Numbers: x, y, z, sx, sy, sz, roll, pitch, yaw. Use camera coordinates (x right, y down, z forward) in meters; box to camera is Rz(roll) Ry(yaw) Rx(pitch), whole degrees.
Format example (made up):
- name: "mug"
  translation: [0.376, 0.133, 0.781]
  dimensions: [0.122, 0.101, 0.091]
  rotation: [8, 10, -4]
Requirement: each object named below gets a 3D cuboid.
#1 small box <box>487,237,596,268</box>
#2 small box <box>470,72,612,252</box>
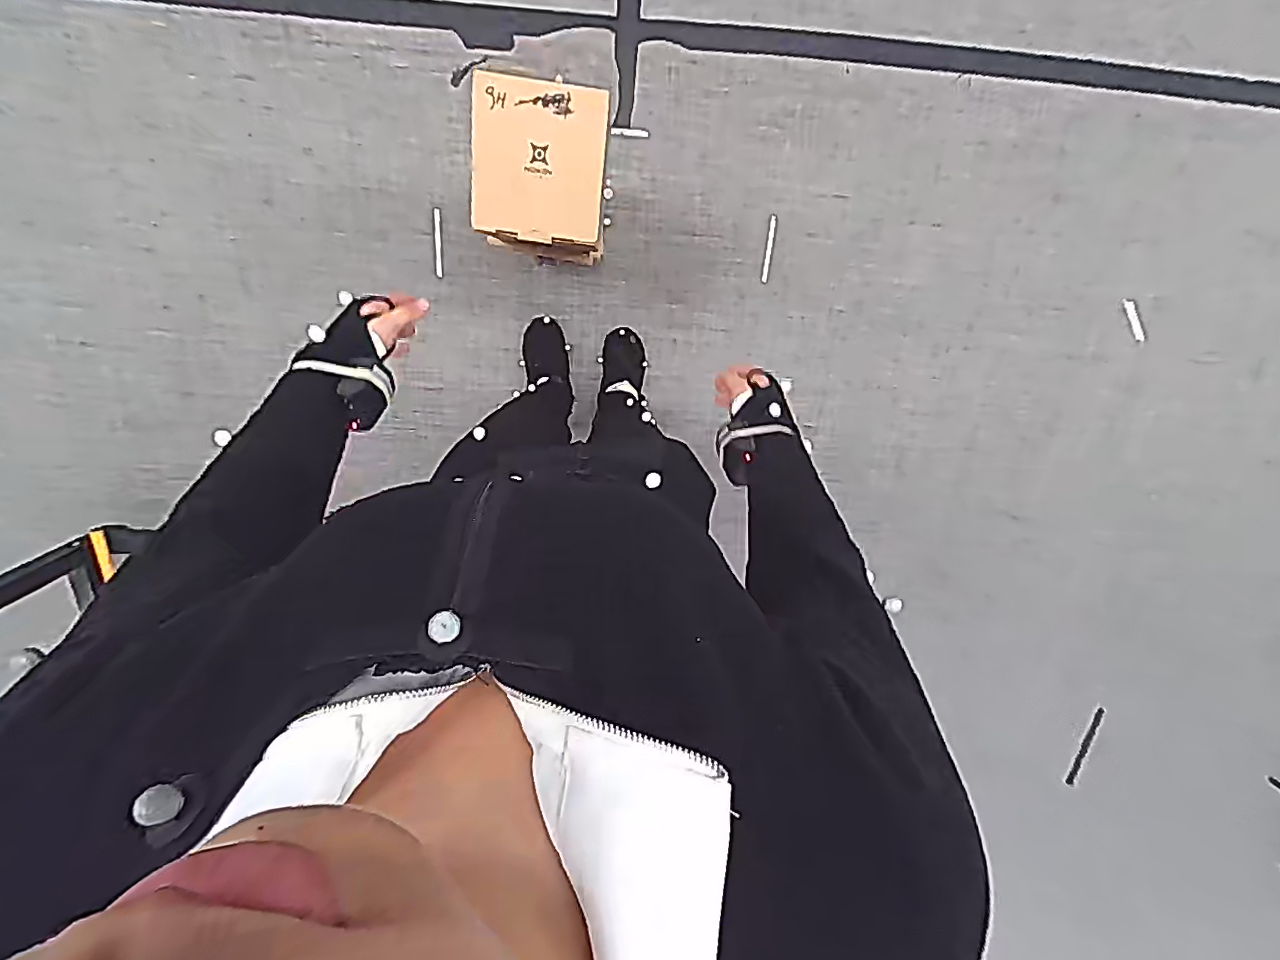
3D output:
- name: "small box"
  translation: [-0.148, -0.462, 0.902]
  dimensions: [0.168, 0.176, 0.179]
  rotation: [9, 111, -6]
- name: "small box"
  translation: [-0.129, -0.418, 0.744]
  dimensions: [0.168, 0.176, 0.179]
  rotation: [6, 110, -5]
